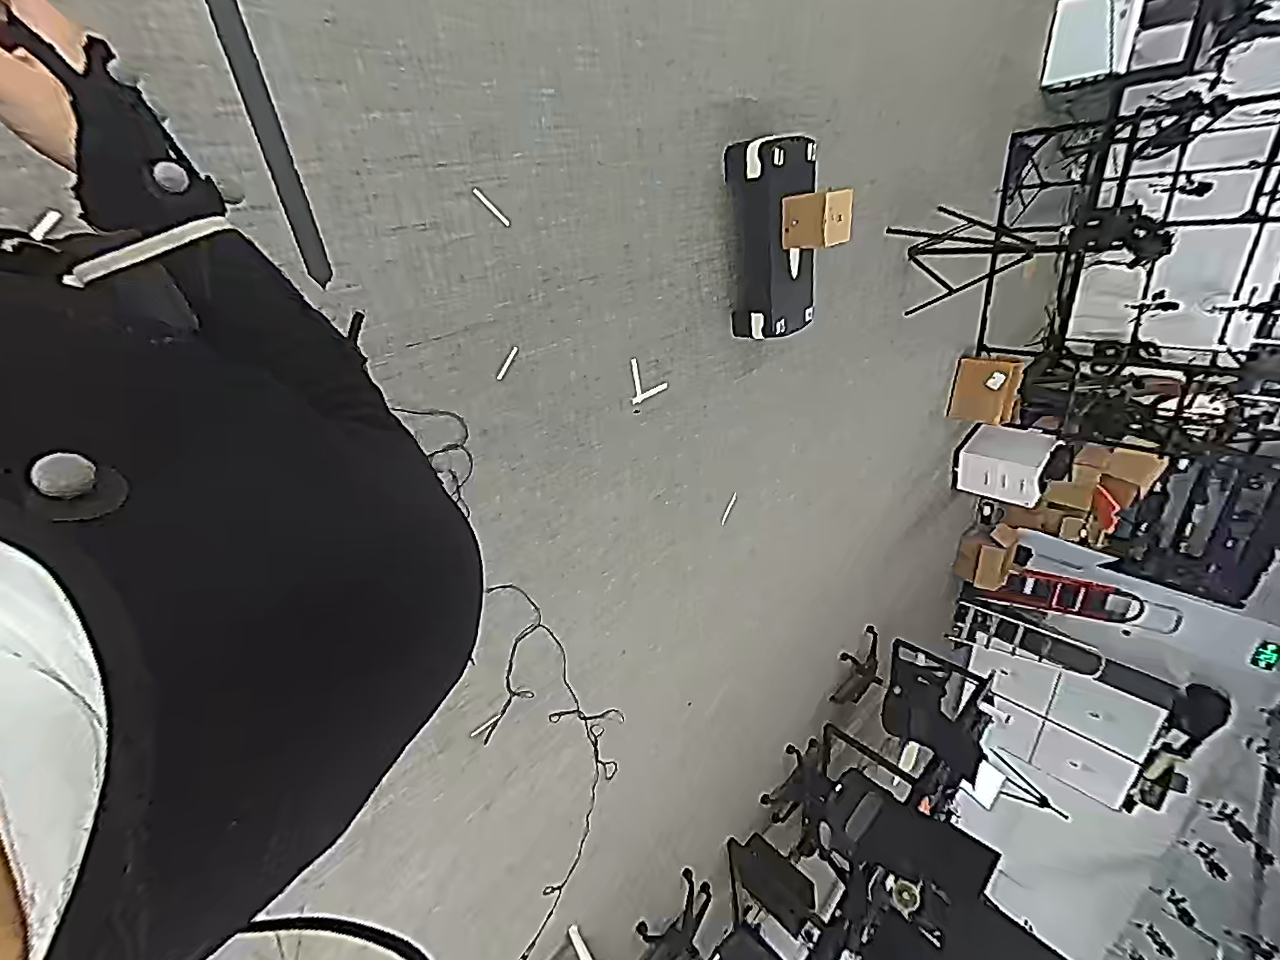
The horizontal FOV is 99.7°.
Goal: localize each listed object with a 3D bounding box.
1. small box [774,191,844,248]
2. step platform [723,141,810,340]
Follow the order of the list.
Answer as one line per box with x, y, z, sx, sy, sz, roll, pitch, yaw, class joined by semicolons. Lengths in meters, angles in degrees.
0.590;-0.912;1.893;0.179;0.176;0.168;-27;123;-35;small box
0.495;-0.892;2.061;0.286;0.204;0.684;-30;124;-34;step platform
